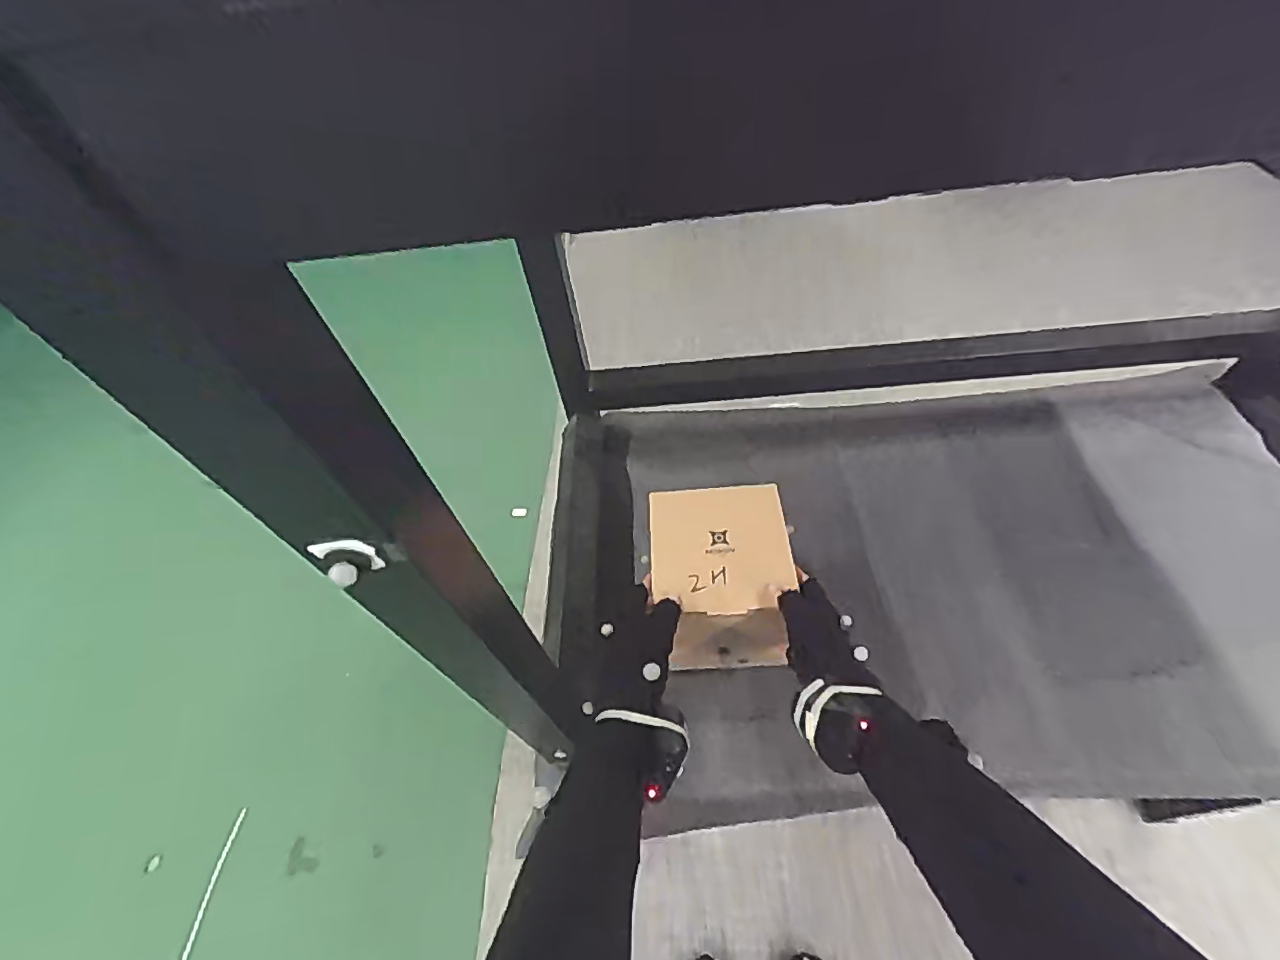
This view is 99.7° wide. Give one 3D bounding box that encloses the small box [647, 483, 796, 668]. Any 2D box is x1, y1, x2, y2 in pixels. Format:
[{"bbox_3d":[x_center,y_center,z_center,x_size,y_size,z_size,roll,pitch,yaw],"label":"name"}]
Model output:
[{"bbox_3d":[0.098,0.127,0.707,0.168,0.176,0.179,-5,49,5],"label":"small box"}]
